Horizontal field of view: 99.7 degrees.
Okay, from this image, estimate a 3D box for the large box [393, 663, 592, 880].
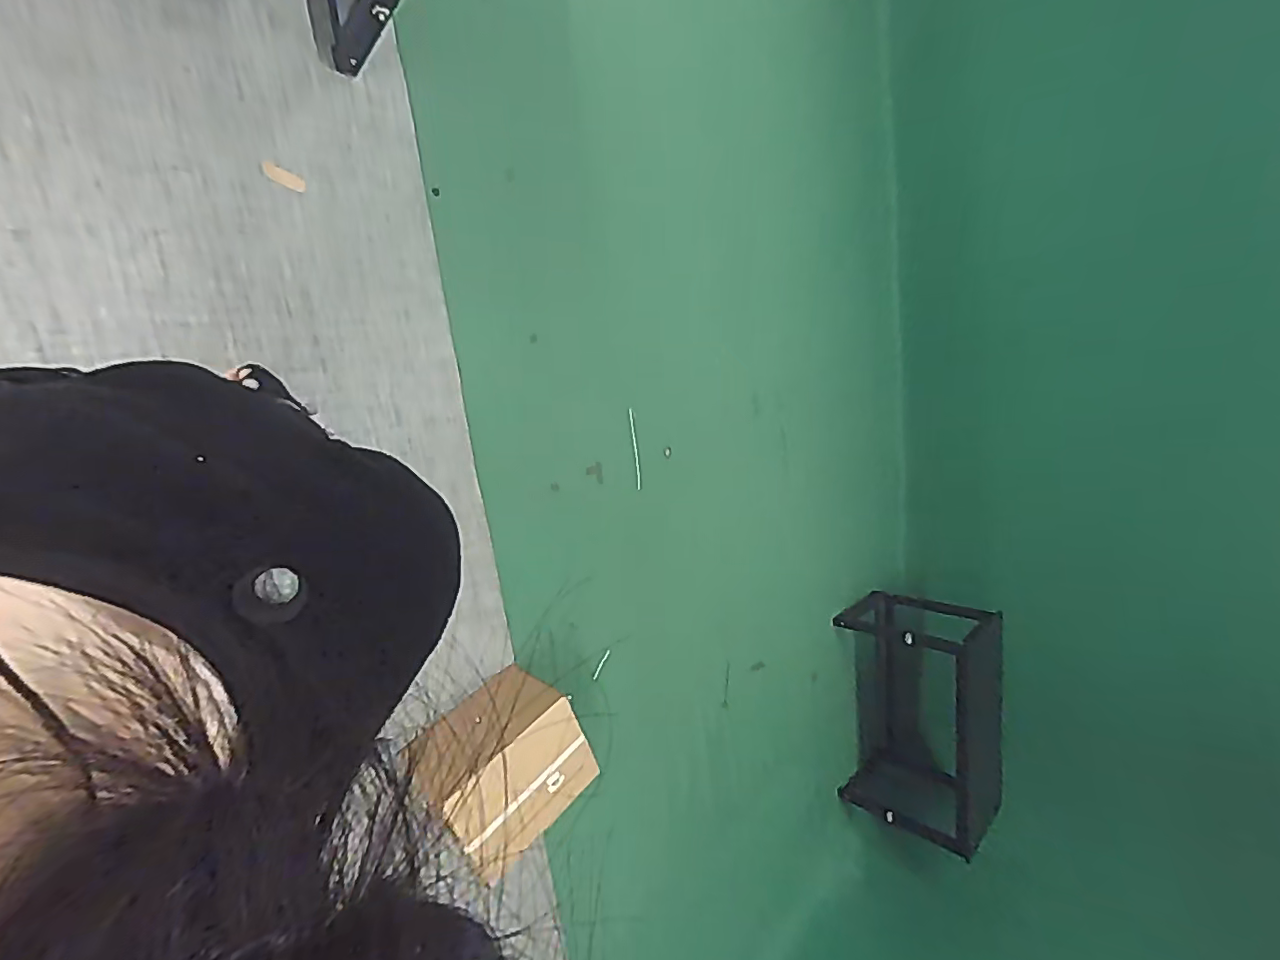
[{"bbox_3d":[-0.423,0.818,1.581,0.408,0.320,0.320,-34,116,-38],"label":"large box"}]
